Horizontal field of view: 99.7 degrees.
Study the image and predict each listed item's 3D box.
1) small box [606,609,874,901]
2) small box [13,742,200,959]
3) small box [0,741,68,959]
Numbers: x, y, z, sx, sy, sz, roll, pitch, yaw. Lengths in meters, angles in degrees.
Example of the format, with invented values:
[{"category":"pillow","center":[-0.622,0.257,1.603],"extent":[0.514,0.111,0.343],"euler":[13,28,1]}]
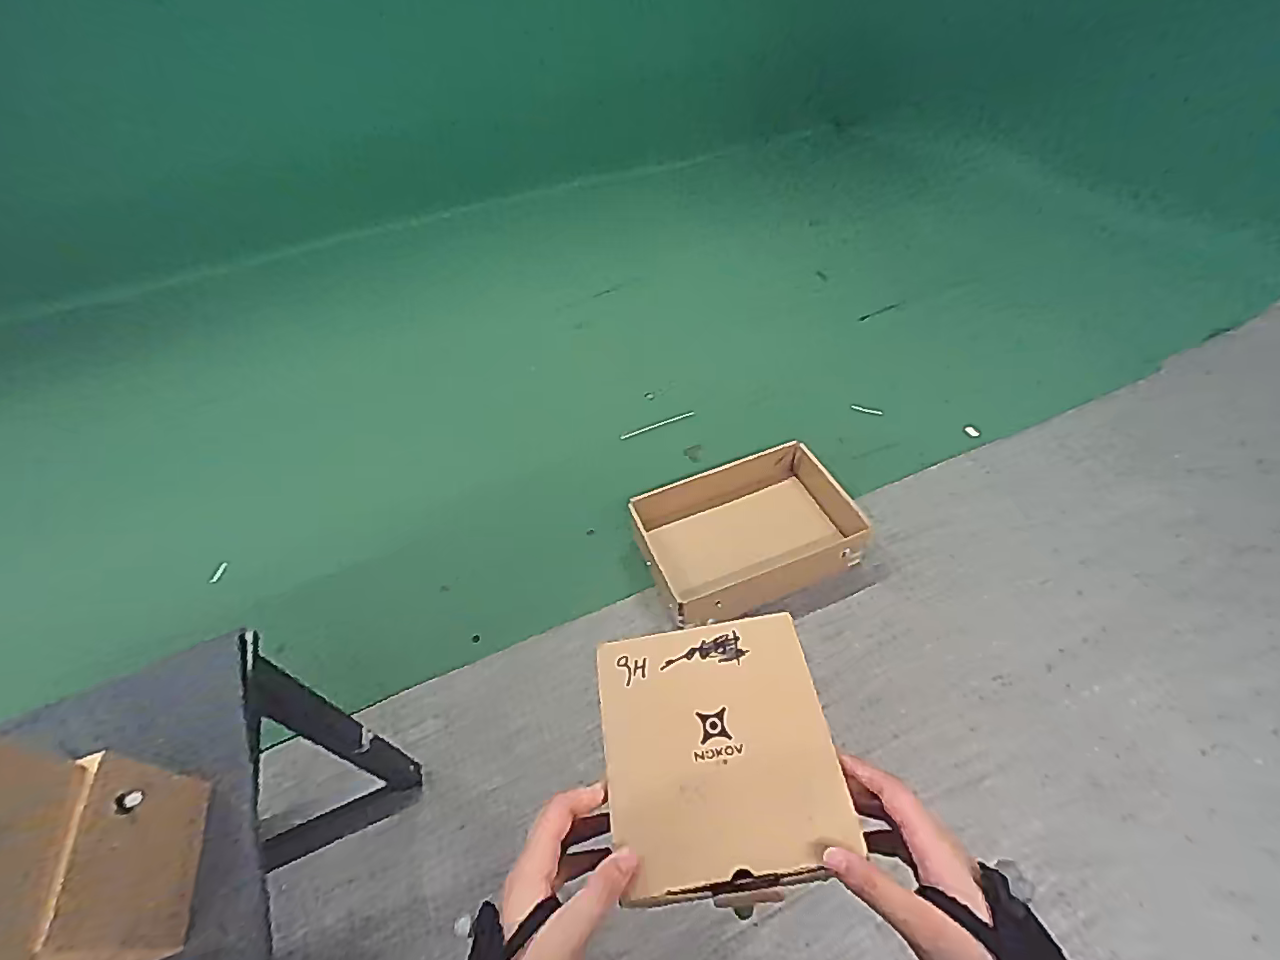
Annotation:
[{"category":"small box","center":[0.069,0.233,0.456],"extent":[0.168,0.176,0.179],"euler":[-9,52,0]},{"category":"small box","center":[-0.607,0.408,0.561],"extent":[0.168,0.176,0.179],"euler":[-17,51,-8]},{"category":"small box","center":[-0.626,0.316,0.425],"extent":[0.168,0.176,0.179],"euler":[-18,52,-9]}]
